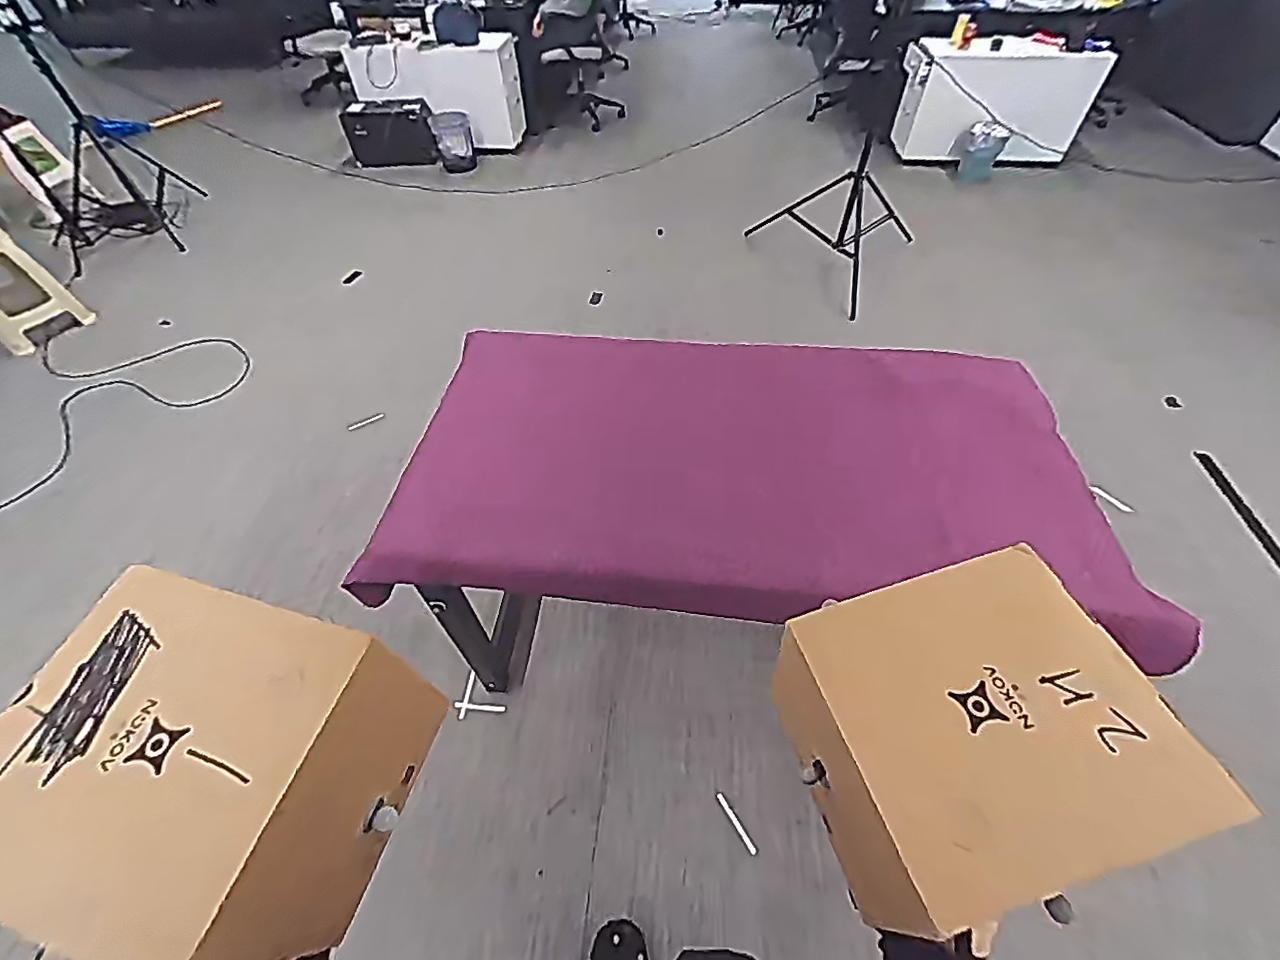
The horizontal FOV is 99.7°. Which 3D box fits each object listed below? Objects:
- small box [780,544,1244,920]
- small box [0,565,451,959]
[{"bbox_3d":[0.208,0.176,0.373,0.179,0.176,0.168,-16,52,-5],"label":"small box"},{"bbox_3d":[-0.257,0.183,0.357,0.179,0.176,0.168,14,57,8],"label":"small box"}]
